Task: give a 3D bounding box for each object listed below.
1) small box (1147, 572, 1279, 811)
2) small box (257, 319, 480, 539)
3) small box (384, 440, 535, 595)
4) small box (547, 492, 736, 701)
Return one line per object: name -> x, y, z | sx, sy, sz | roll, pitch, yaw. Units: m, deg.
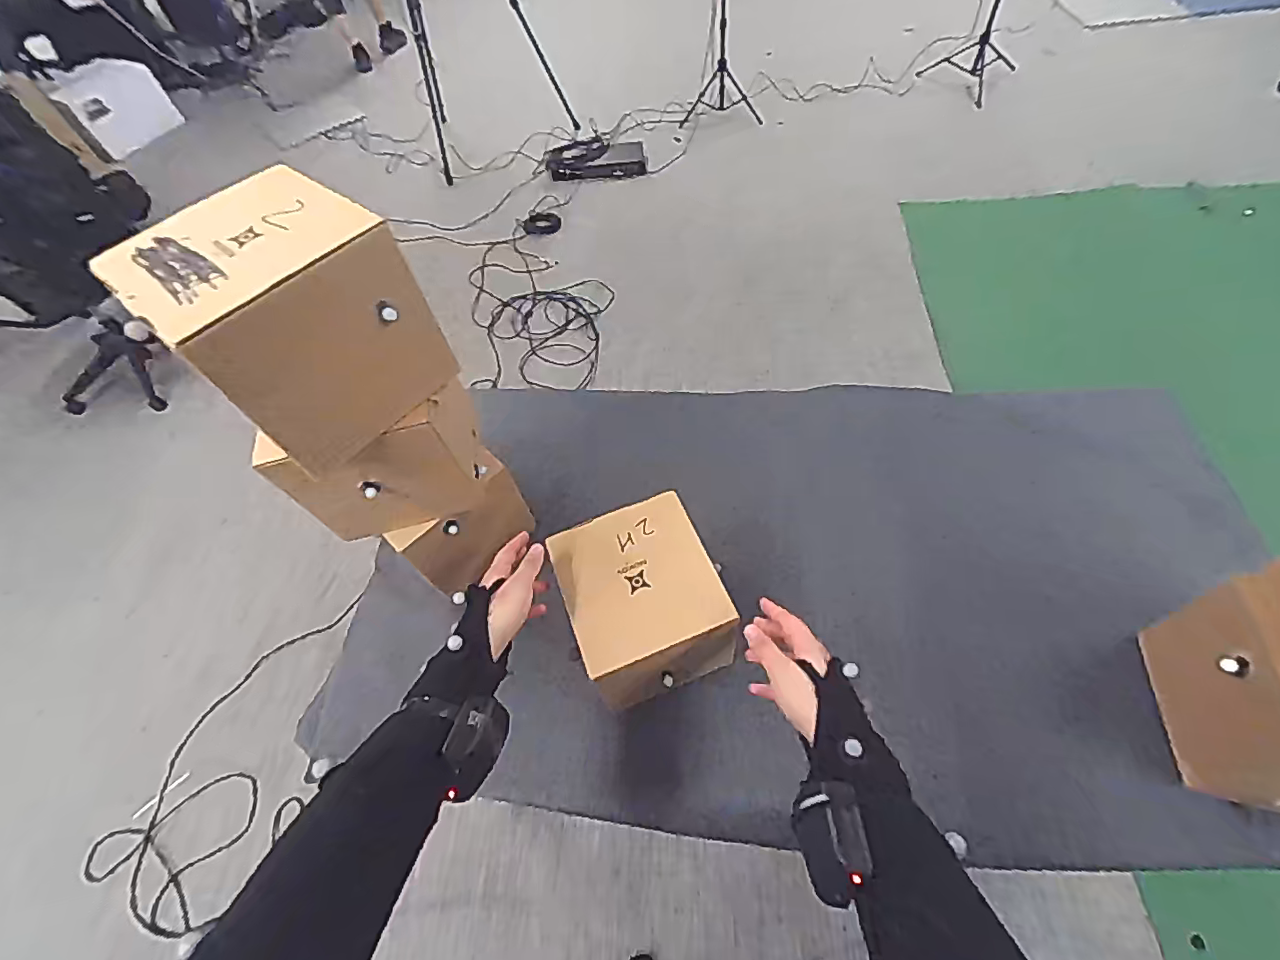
small box -> 0.652, 0.214, 0.523 | 0.168, 0.176, 0.179 | 6, 55, 14
small box -> -0.297, -0.053, 0.634 | 0.179, 0.176, 0.168 | -16, 57, -2
small box -> -0.279, 0.033, 0.773 | 0.179, 0.176, 0.168 | 37, 69, 26
small box -> 0.005, 0.150, 0.657 | 0.168, 0.176, 0.179 | -21, 56, -7
